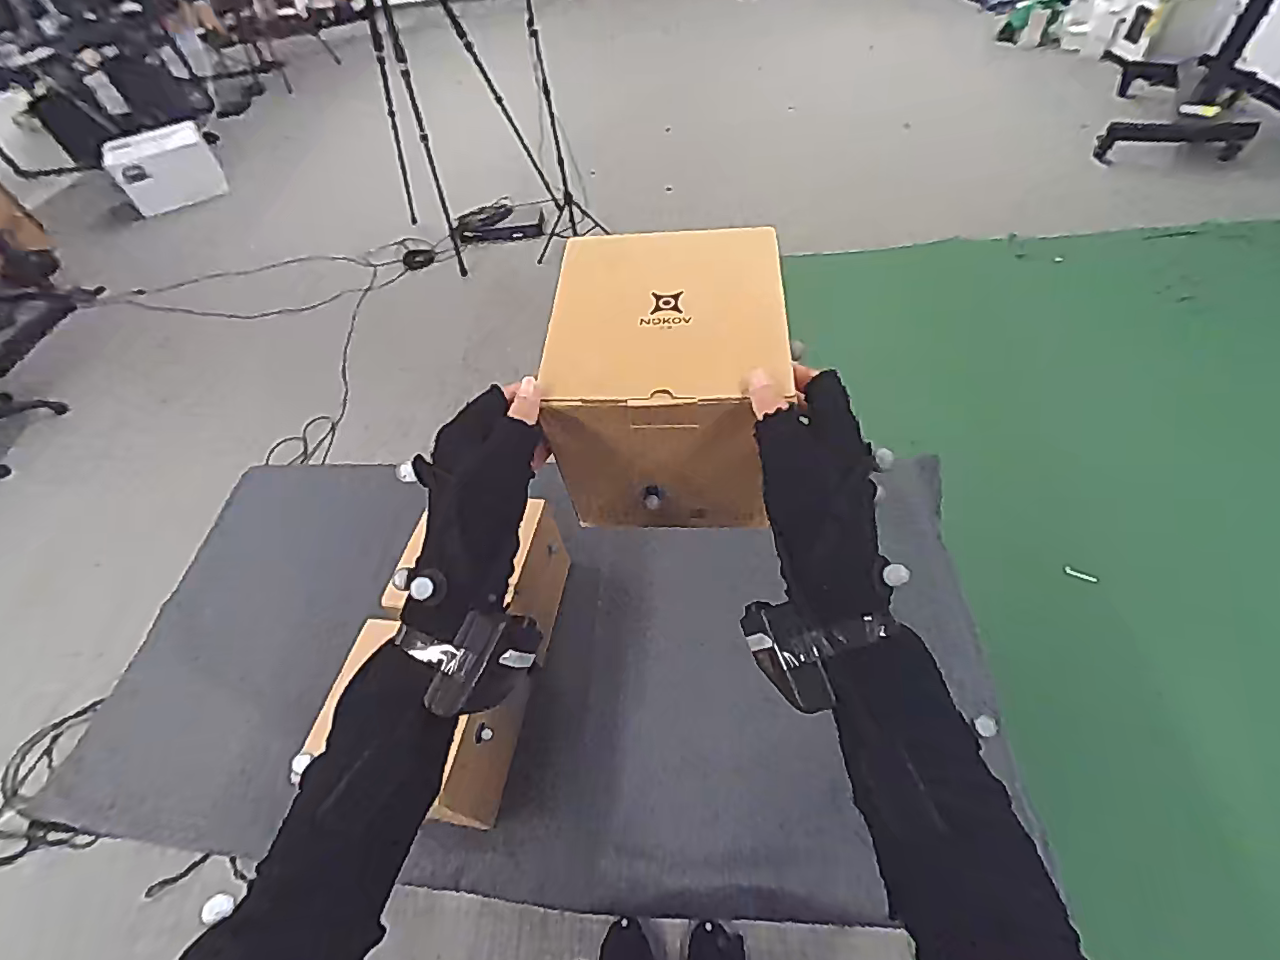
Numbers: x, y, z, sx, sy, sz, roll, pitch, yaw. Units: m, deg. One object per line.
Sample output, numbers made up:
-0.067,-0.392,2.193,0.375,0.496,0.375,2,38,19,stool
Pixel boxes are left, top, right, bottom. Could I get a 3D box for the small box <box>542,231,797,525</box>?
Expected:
0.029,-0.079,0.452,0.168,0.176,0.179,0,58,7,small box
